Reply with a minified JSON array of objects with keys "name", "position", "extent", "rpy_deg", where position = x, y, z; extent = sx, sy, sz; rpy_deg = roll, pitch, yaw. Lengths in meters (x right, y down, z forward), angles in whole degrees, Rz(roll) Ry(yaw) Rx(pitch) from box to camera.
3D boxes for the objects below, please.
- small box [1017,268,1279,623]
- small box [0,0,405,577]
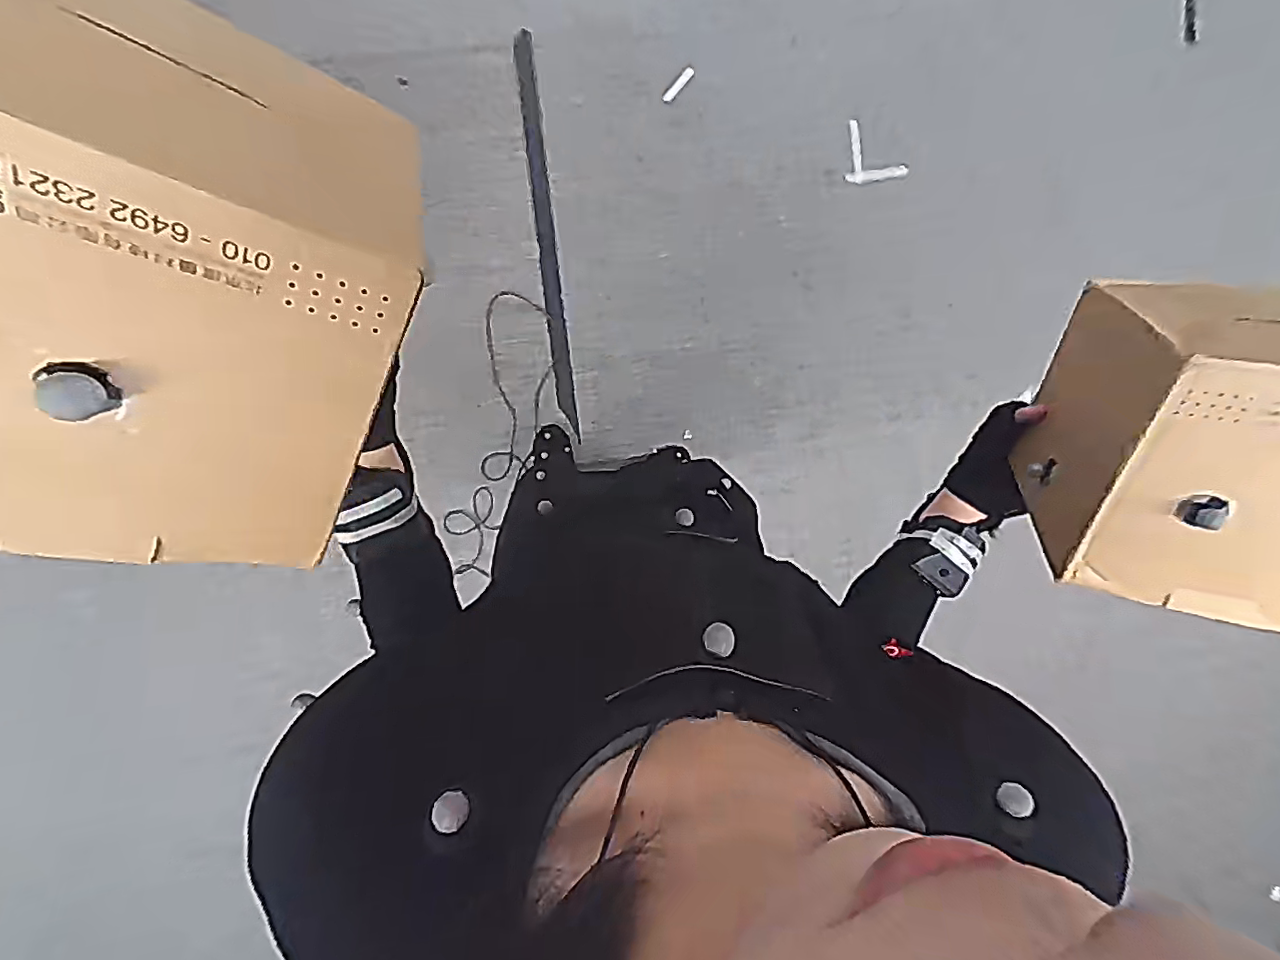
[{"name":"small box","position":[0.384,-0.032,0.350],"extent":[0.168,0.179,0.176],"rpy_deg":[12,127,16]},{"name":"small box","position":[-0.204,-0.086,0.217],"extent":[0.168,0.179,0.176],"rpy_deg":[14,128,-34]}]
